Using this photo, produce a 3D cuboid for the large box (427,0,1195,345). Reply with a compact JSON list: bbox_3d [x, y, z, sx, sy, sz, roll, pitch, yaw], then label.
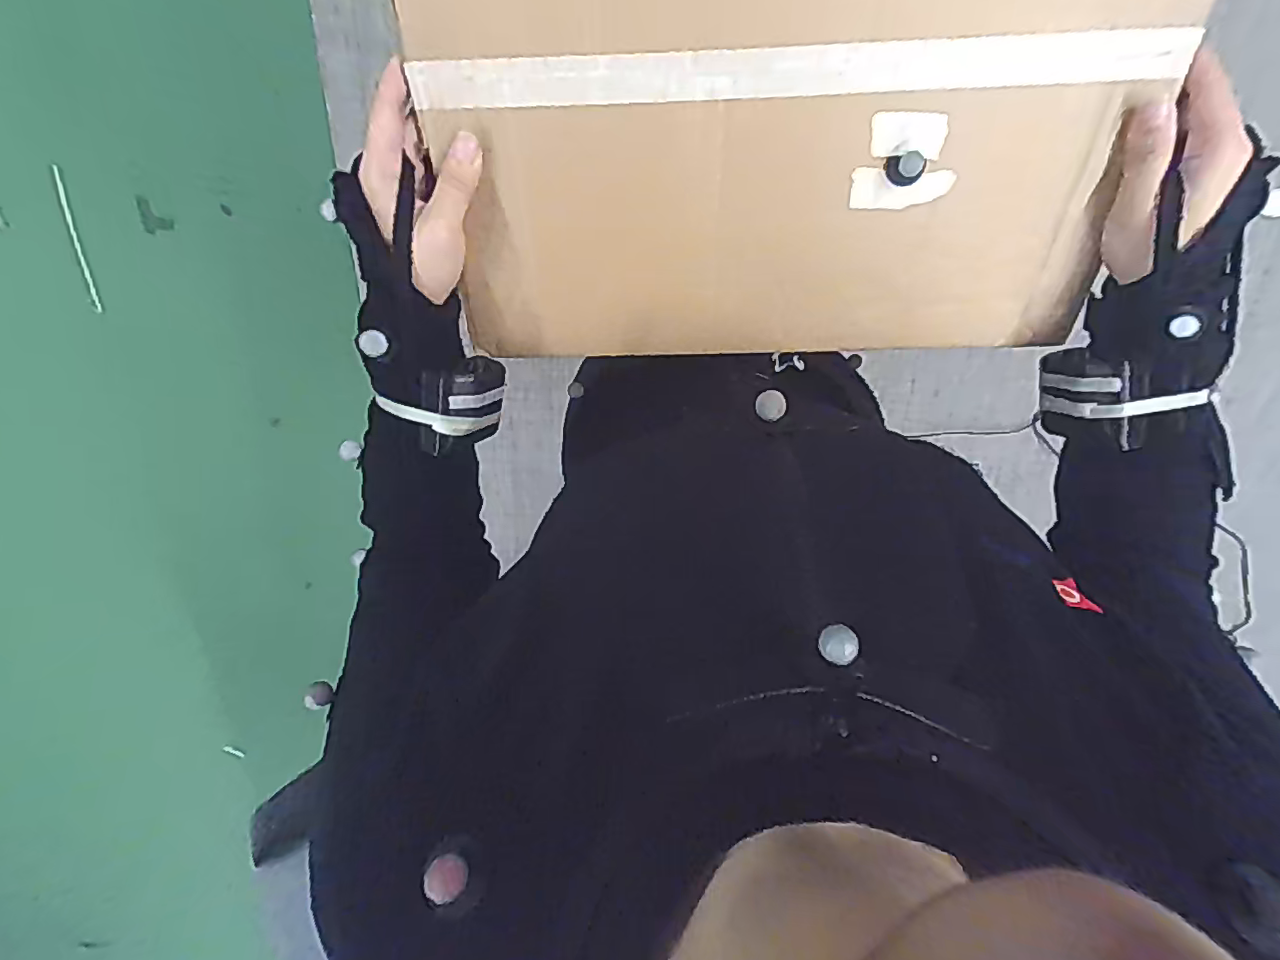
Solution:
[{"bbox_3d":[0.087,-0.313,0.416,0.408,0.320,0.320,-2,126,1],"label":"large box"}]
